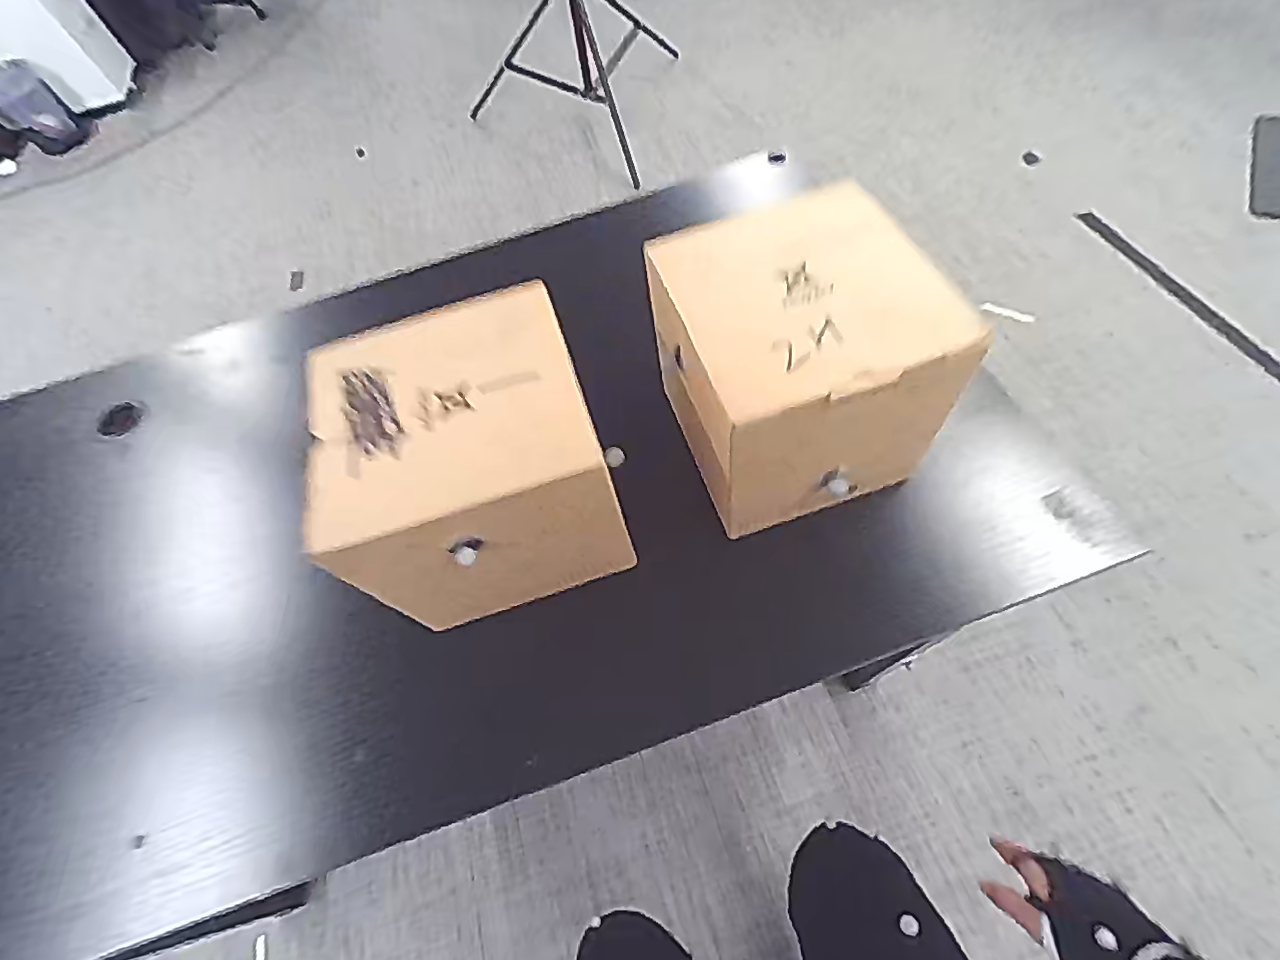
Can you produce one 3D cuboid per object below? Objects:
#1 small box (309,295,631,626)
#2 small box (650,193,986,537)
[{"bbox_3d":[-0.118,-0.004,0.419,0.179,0.176,0.168,-18,60,-3],"label":"small box"},{"bbox_3d":[0.115,-0.082,0.428,0.168,0.176,0.179,-18,60,-2],"label":"small box"}]
